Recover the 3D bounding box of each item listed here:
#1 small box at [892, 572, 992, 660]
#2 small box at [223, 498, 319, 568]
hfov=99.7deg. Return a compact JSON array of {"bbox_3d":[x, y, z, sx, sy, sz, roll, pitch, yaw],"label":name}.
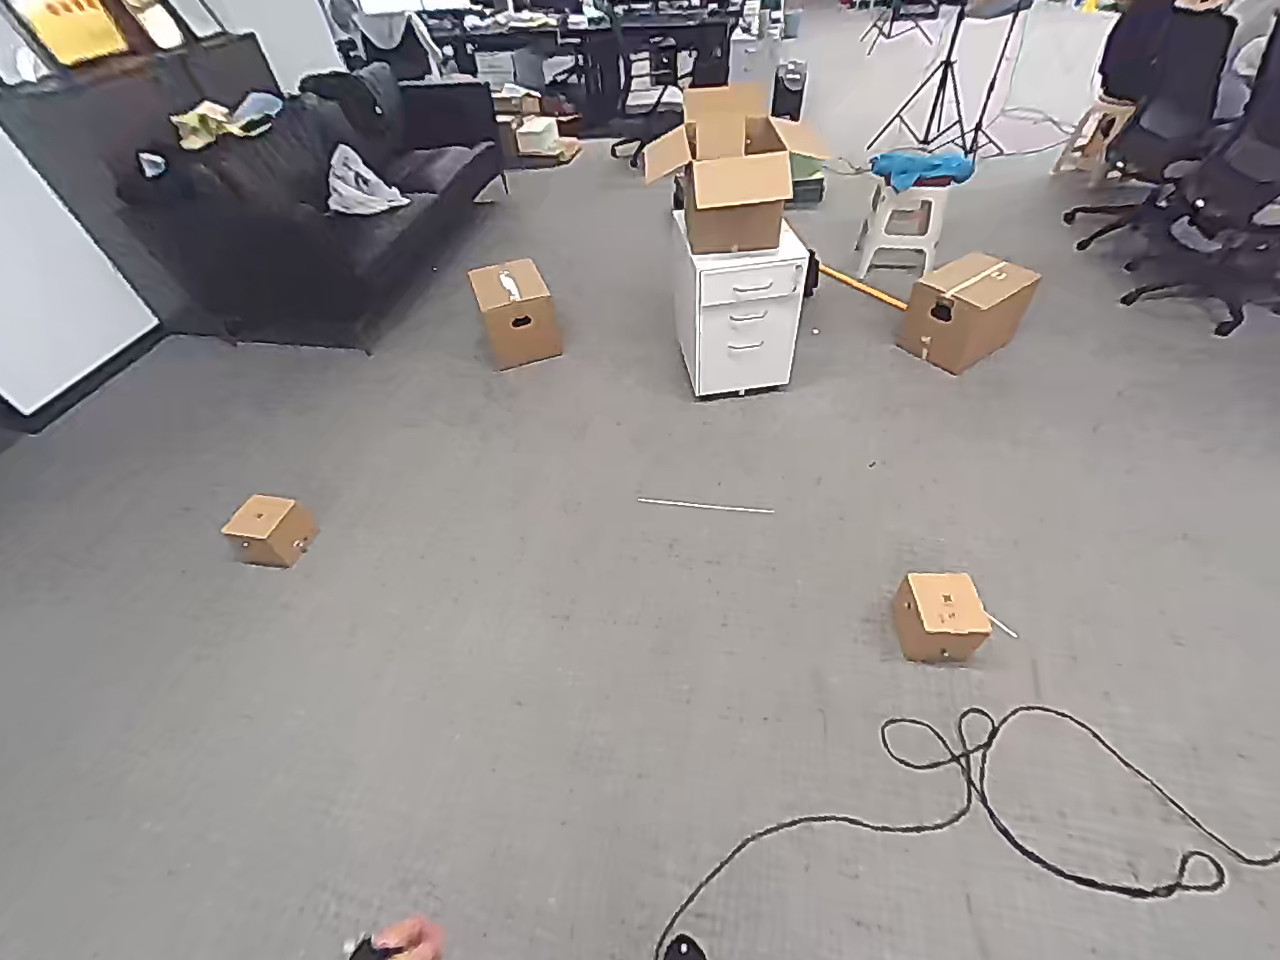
[{"bbox_3d":[0.807,0.368,1.467,0.168,0.176,0.179,-1,48,4],"label":"small box"},{"bbox_3d":[-1.258,0.185,1.856,0.179,0.176,0.168,6,49,10],"label":"small box"}]
